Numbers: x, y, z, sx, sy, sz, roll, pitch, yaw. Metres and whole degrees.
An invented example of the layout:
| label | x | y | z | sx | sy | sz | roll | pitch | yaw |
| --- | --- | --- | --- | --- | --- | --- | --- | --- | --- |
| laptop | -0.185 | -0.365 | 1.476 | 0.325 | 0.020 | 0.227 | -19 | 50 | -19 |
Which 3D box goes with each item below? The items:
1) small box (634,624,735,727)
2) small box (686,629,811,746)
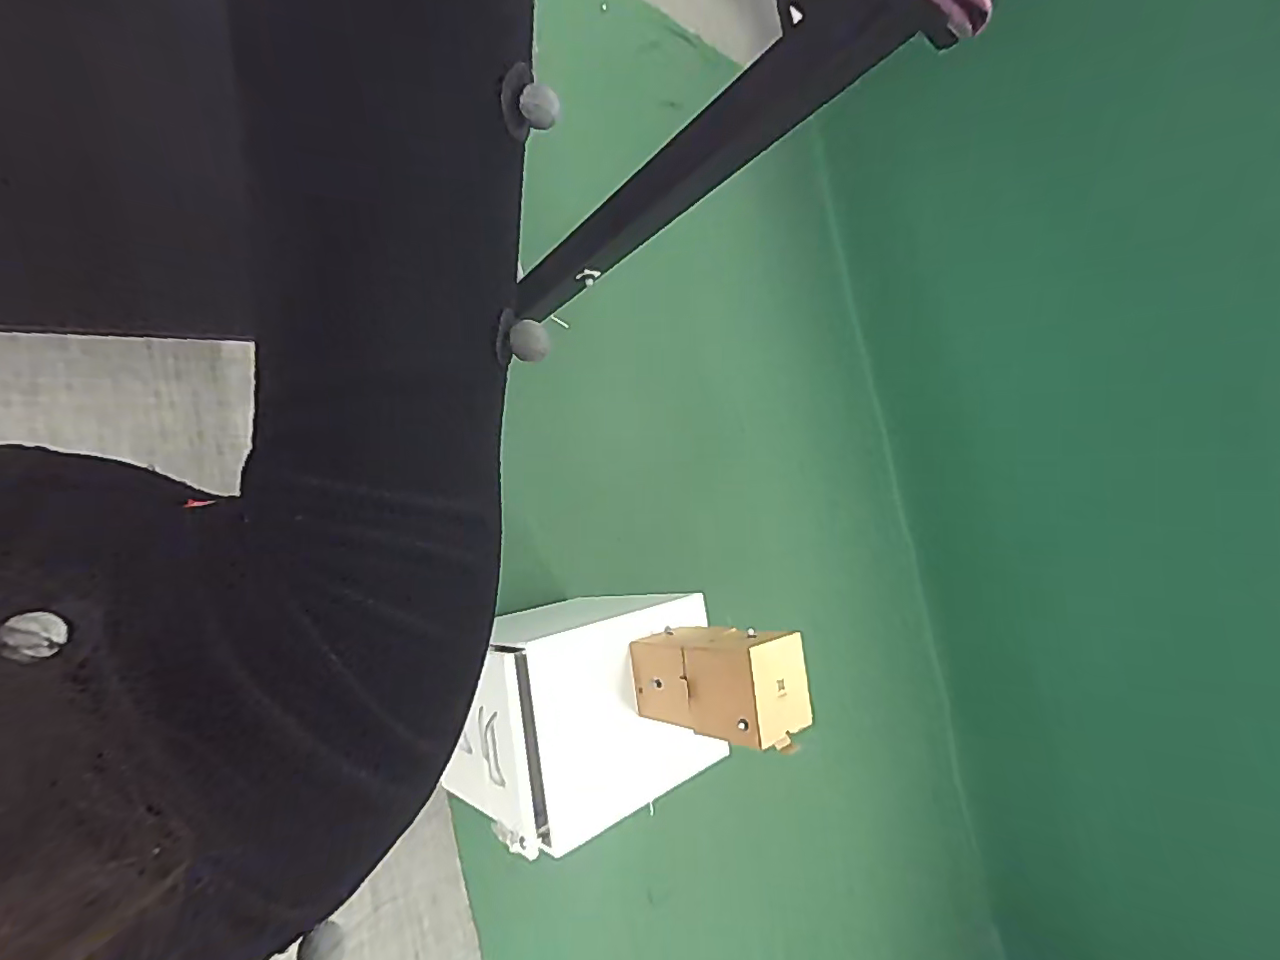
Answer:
| label | x | y | z | sx | sy | sz | roll | pitch | yaw |
| --- | --- | --- | --- | --- | --- | --- | --- | --- | --- |
| small box | 0.101 | 0.415 | 1.177 | 0.179 | 0.176 | 0.168 | -3 | 83 | -41 |
| small box | 0.206 | 0.392 | 1.055 | 0.168 | 0.176 | 0.179 | 0 | 81 | -42 |
